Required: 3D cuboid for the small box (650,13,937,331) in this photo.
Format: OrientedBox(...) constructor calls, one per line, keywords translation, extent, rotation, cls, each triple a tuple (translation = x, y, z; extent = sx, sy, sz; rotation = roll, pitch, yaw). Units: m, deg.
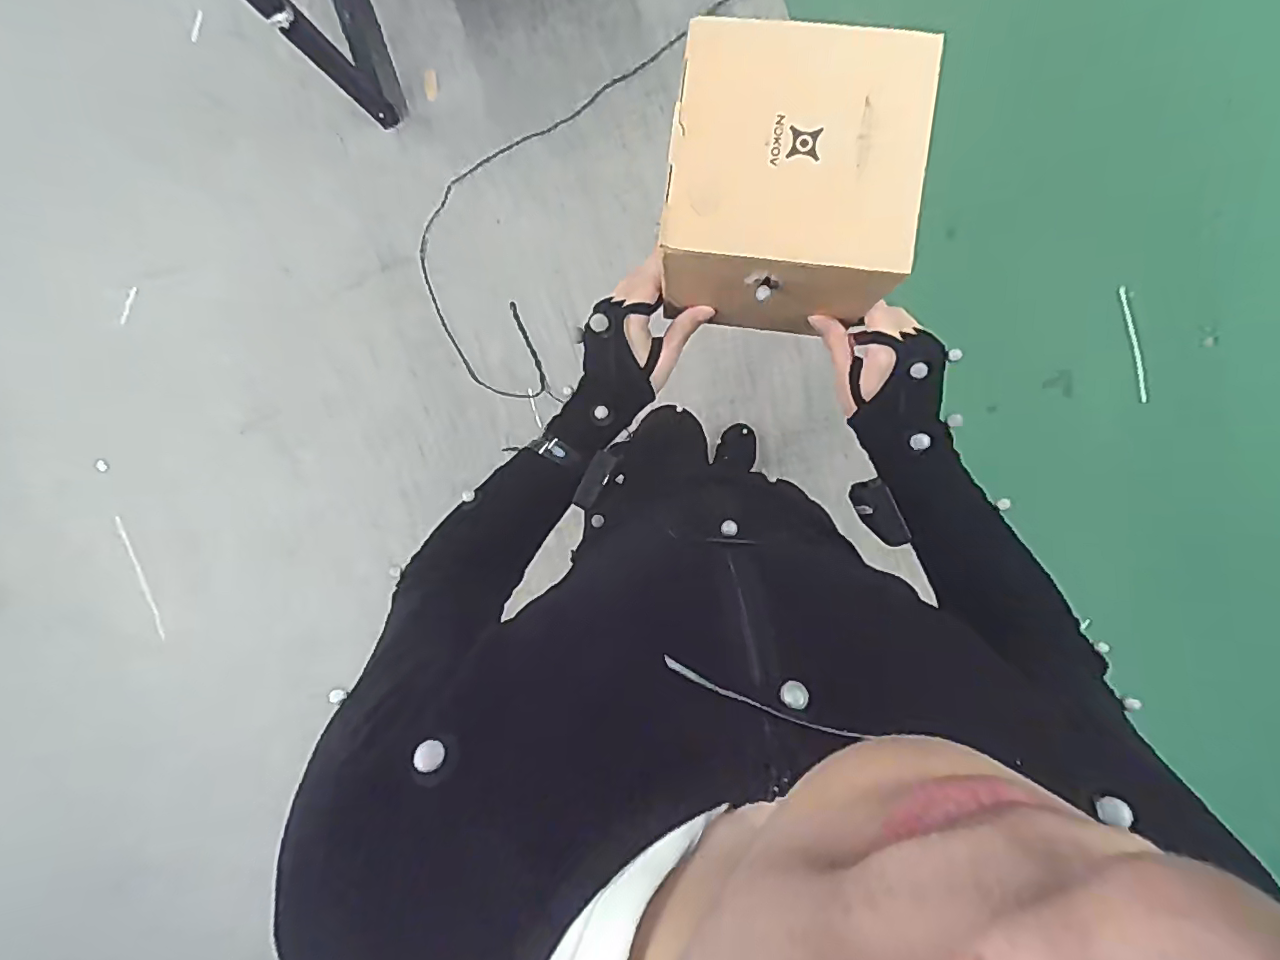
OrientedBox(translation=(0.110, -0.233, 0.451), extent=(0.179, 0.176, 0.168), rotation=(8, 91, 4), cls="small box")
